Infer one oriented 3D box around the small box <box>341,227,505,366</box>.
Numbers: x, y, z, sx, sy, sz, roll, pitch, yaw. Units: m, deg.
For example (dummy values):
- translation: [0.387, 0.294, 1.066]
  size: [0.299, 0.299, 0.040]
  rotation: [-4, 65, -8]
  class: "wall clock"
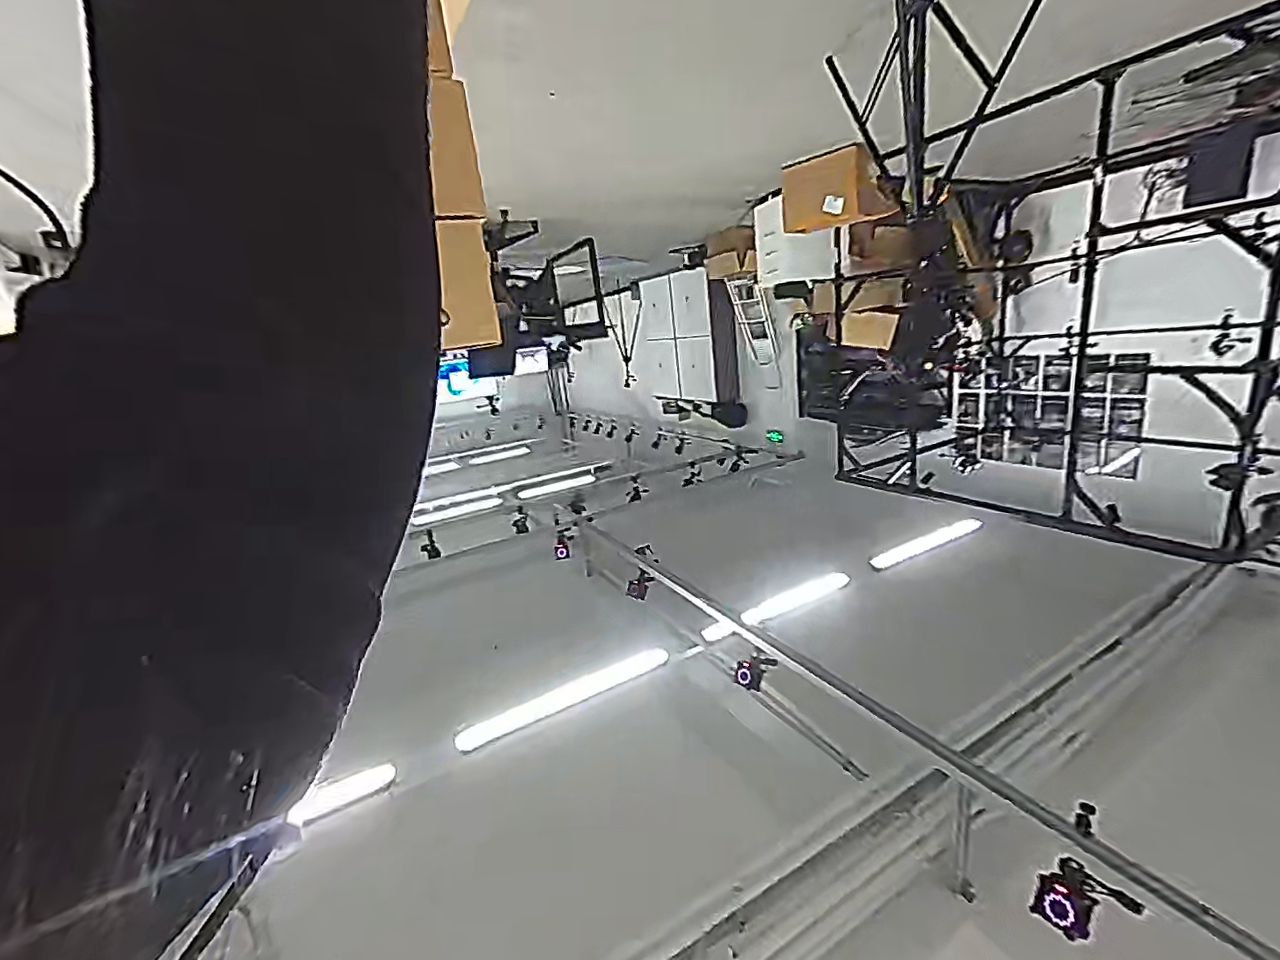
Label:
- translation: [-0.317, -0.265, 0.790]
  size: [0.179, 0.176, 0.168]
  rotation: [-15, -163, -26]
  class: "small box"
